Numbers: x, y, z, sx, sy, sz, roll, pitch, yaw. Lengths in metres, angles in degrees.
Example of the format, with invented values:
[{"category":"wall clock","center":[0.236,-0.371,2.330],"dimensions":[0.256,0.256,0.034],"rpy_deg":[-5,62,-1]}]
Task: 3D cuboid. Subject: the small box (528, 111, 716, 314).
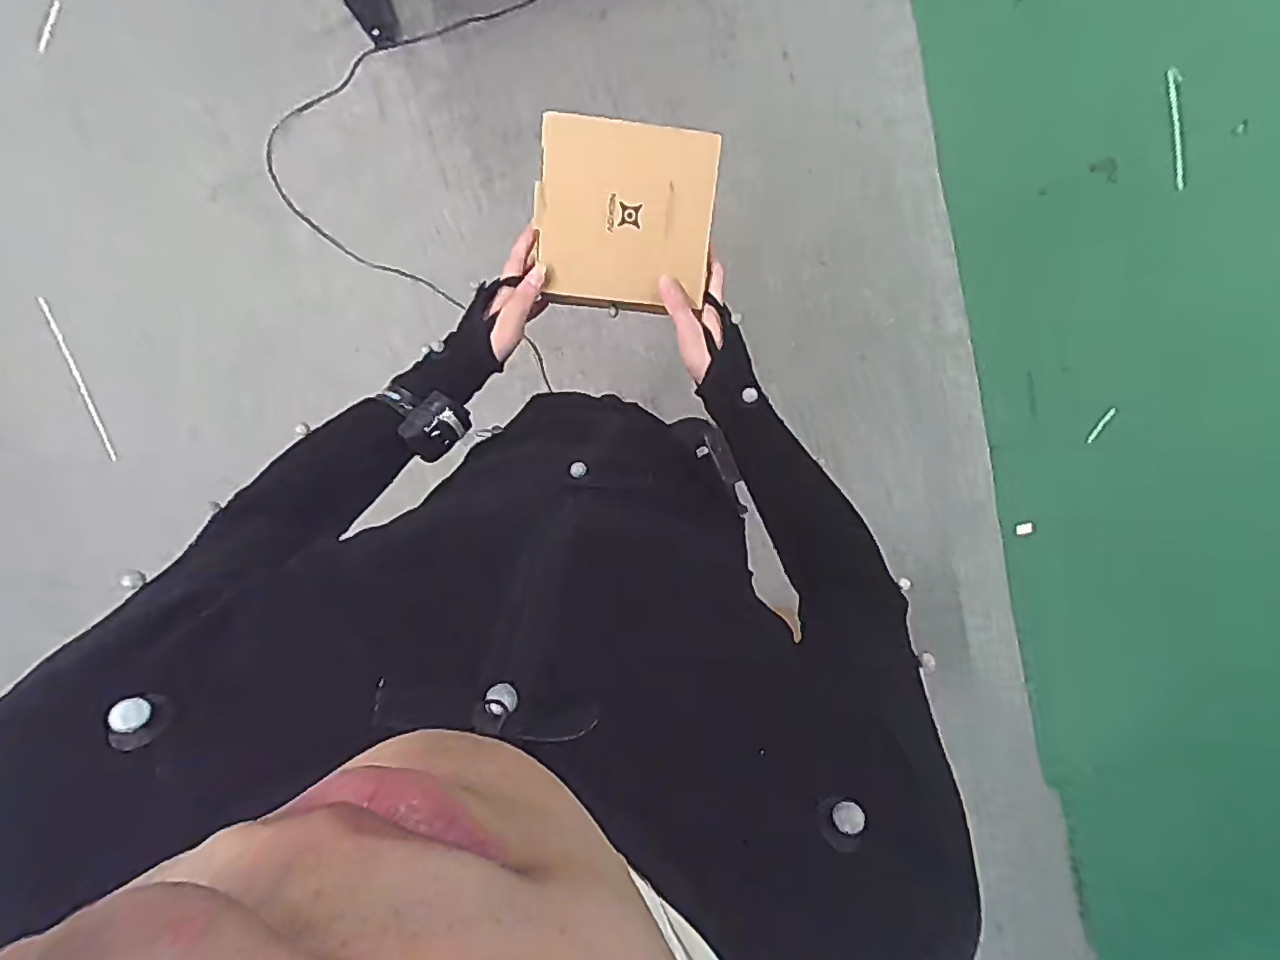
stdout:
[{"category":"small box","center":[-0.024,-0.283,0.612],"dimensions":[0.179,0.176,0.168],"rpy_deg":[4,104,-5]}]
